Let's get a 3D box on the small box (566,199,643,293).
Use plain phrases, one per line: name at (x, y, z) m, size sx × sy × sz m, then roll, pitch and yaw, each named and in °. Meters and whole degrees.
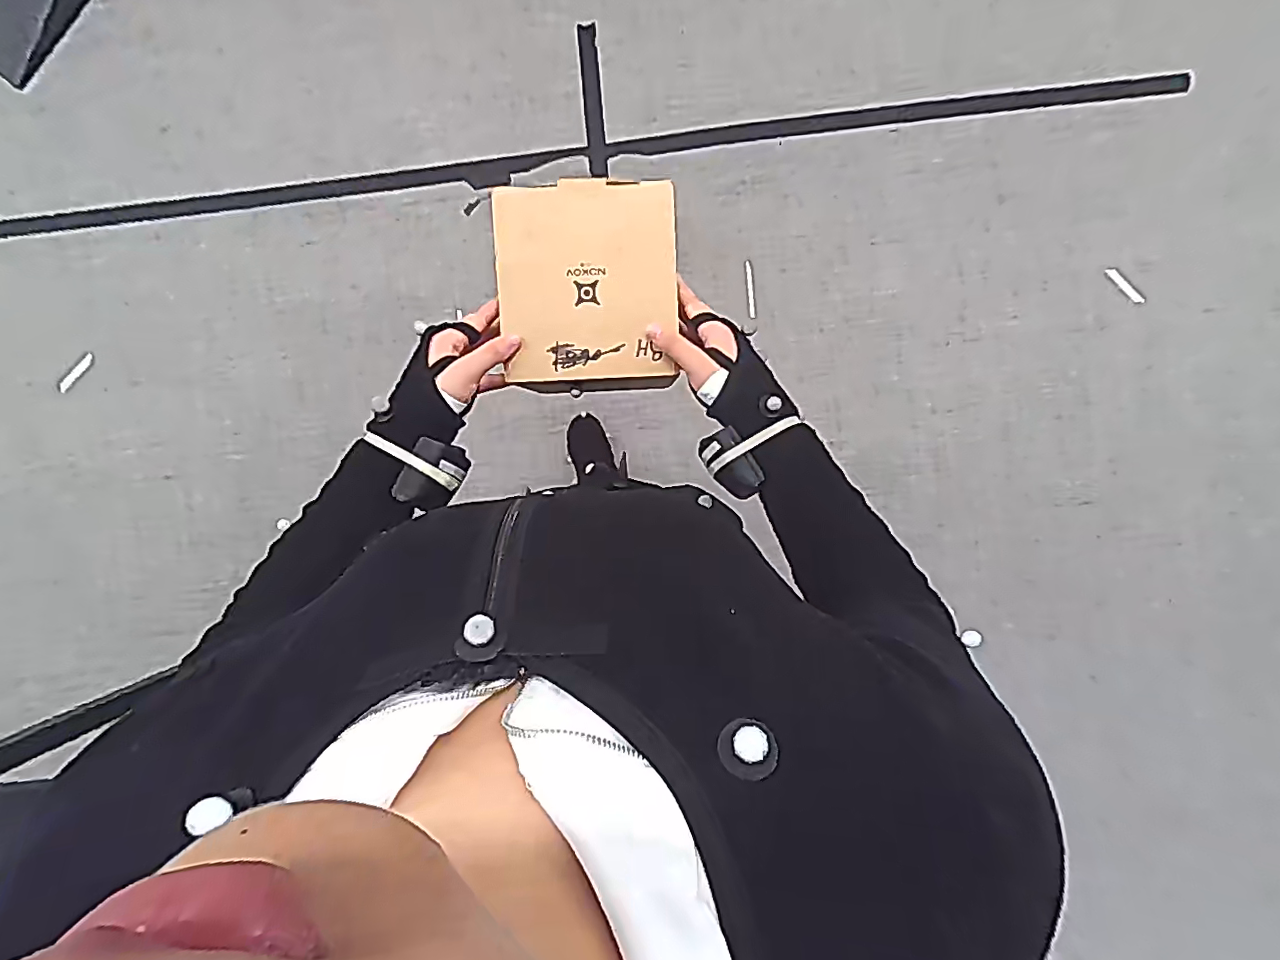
small box at (-0.086, -0.599, 1.400) m, size 0.179 × 0.176 × 0.168 m, roll -6°, pitch 90°, yaw 2°
